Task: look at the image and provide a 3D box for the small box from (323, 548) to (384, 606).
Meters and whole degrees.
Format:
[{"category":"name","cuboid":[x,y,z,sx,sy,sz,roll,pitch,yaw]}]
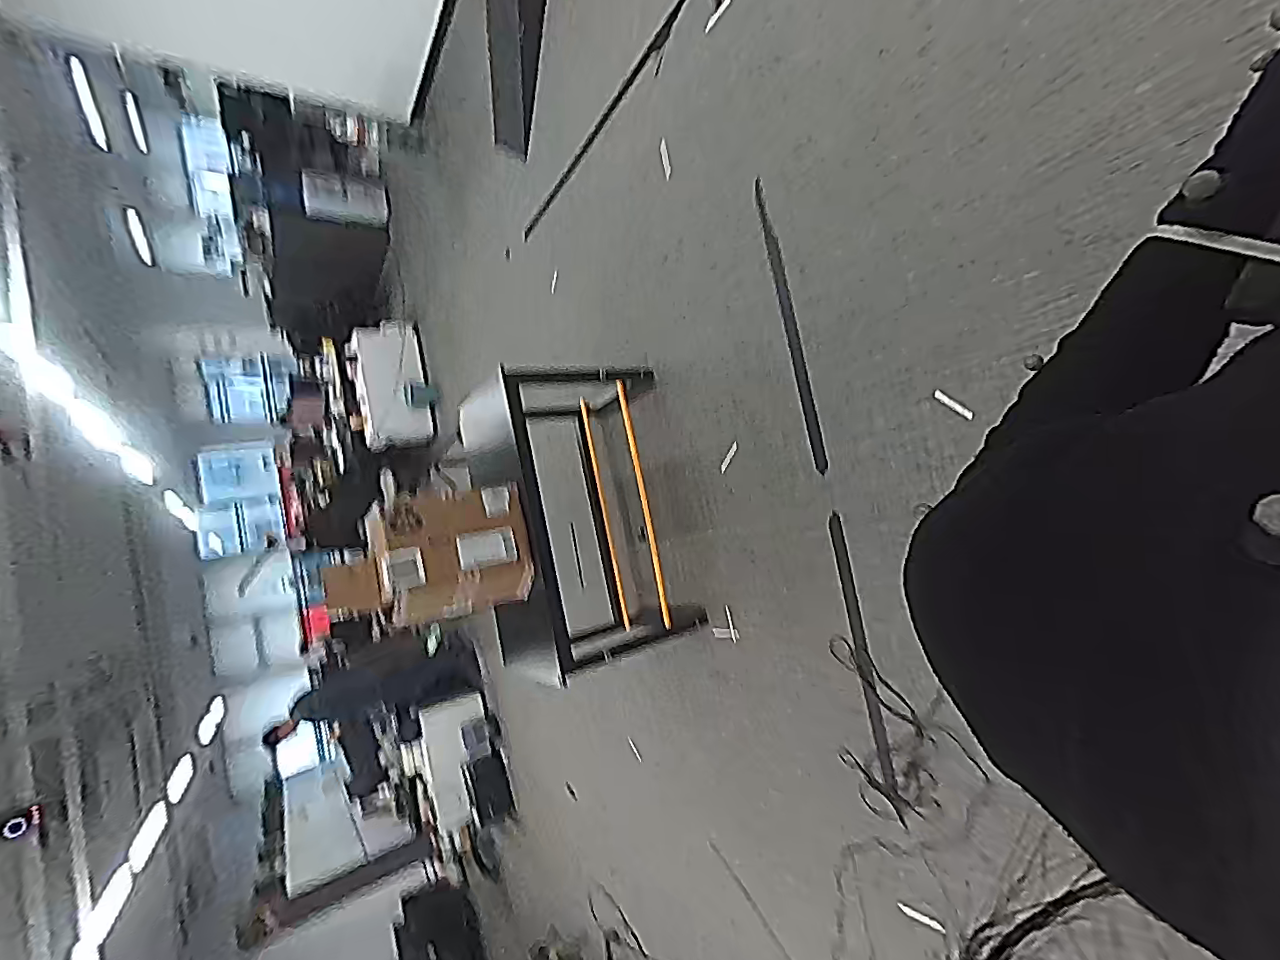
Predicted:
[{"category":"small box","cuboid":[-1.034,0.347,1.948,0.168,0.176,0.179,-25,76,58]}]
